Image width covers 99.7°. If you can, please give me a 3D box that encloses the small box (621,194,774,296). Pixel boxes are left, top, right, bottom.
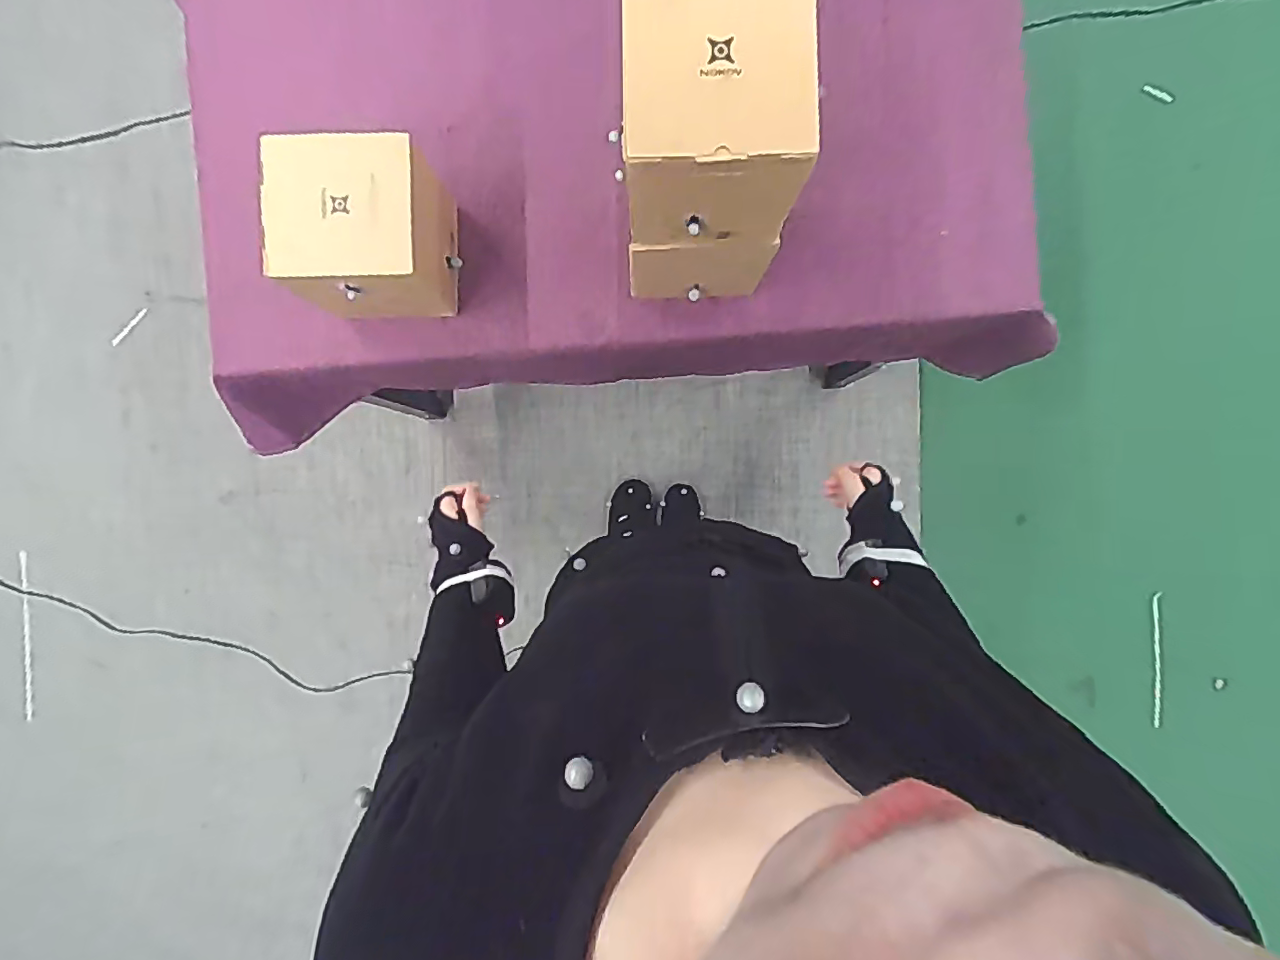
[{"bbox_3d":[0.065,-0.350,0.705,0.179,0.176,0.168,-2,89,-1],"label":"small box"}]

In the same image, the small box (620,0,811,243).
[{"bbox_3d":[0.063,-0.361,0.542,0.168,0.176,0.179,-2,91,0],"label":"small box"}]

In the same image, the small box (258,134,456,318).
[{"bbox_3d":[-0.355,-0.316,0.704,0.179,0.176,0.168,-1,90,-1],"label":"small box"}]
